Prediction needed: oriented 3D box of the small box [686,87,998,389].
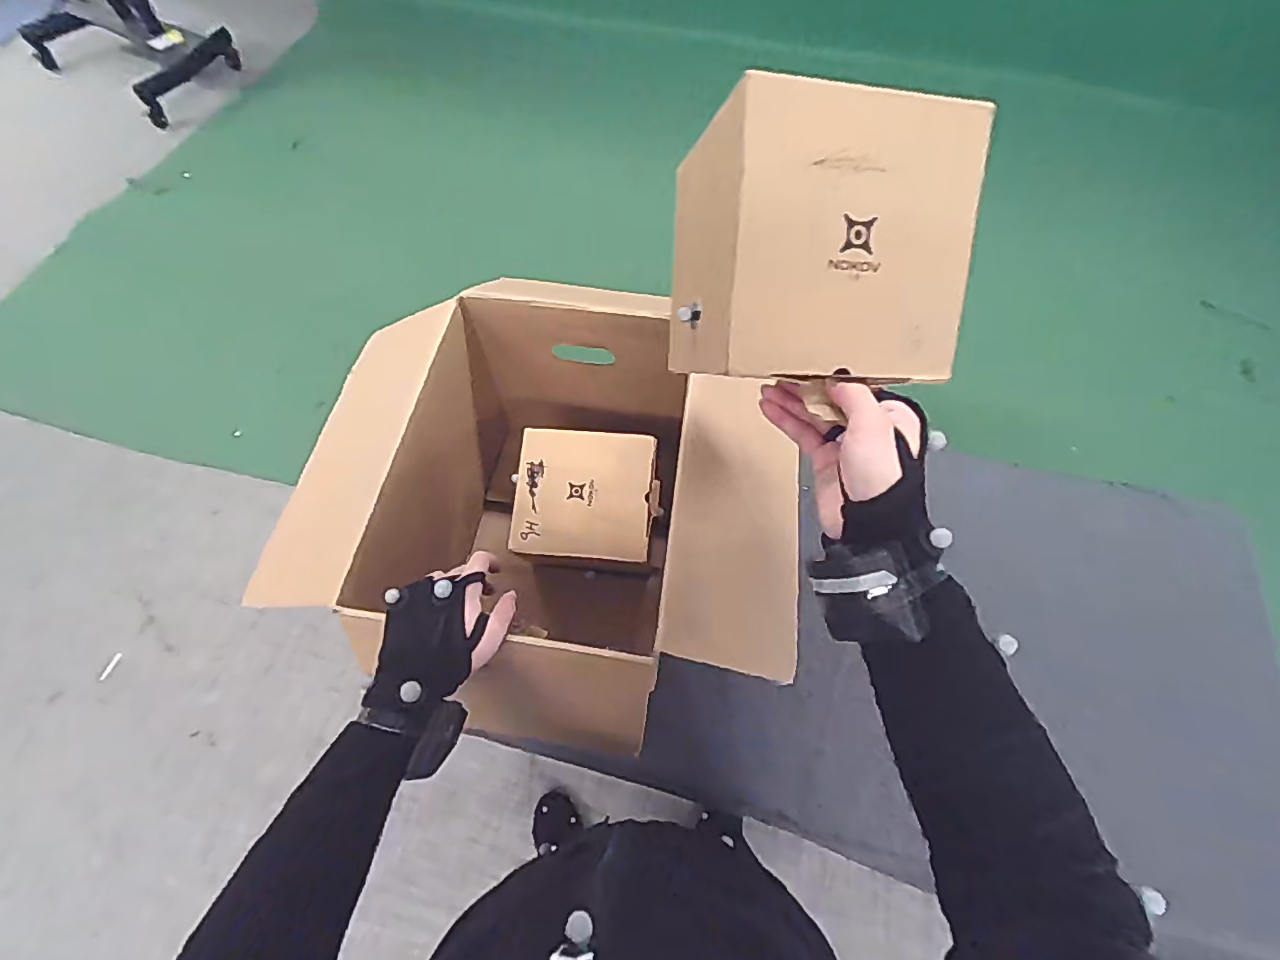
[{"bbox_3d":[0.138,-0.169,0.436,0.168,0.176,0.179,1,101,-11],"label":"small box"}]
